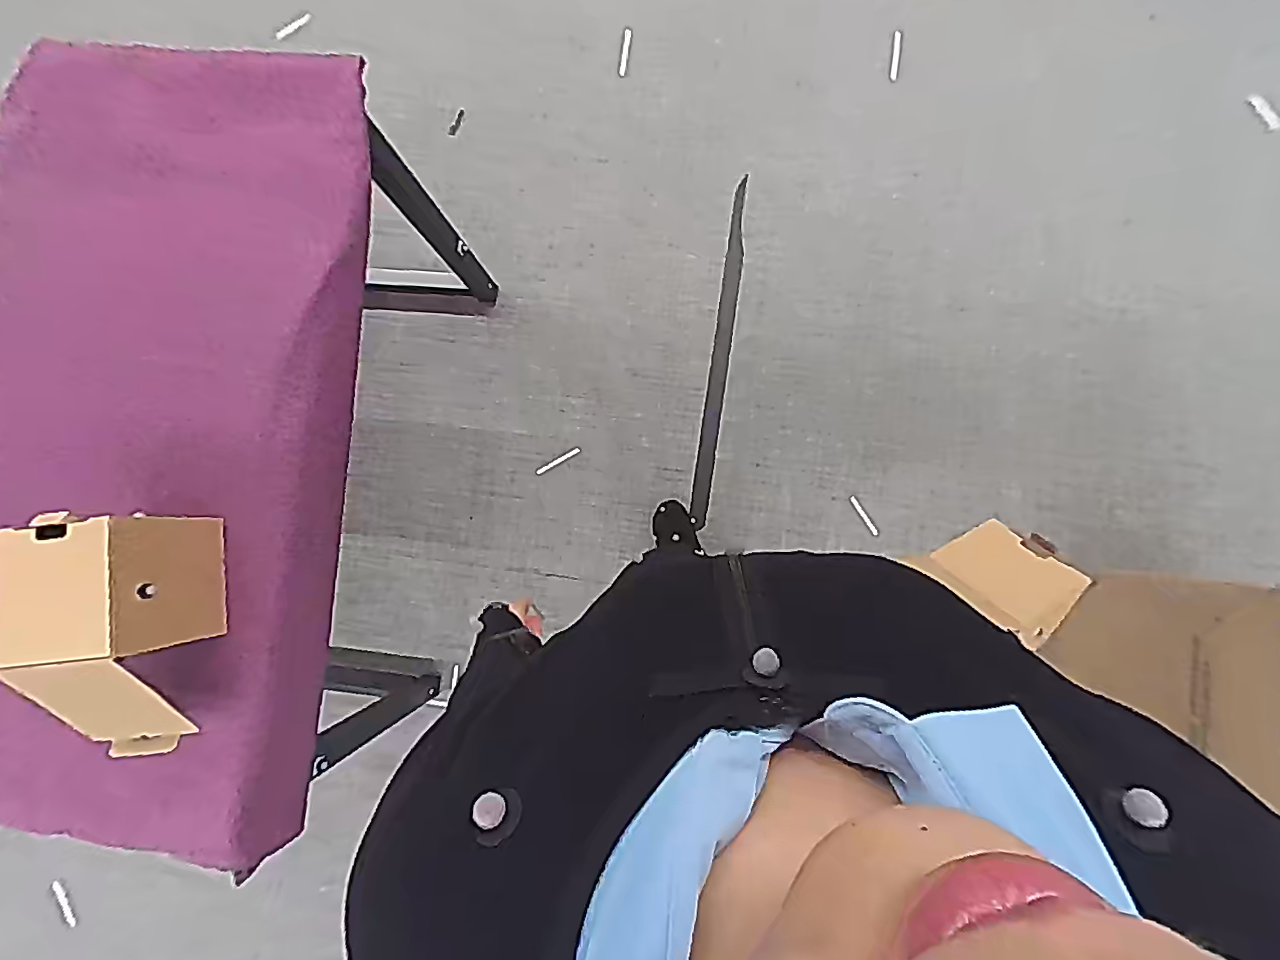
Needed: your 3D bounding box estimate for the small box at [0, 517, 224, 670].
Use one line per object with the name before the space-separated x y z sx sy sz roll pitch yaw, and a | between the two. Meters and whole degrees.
small box | -0.710 0.145 0.738 0.168 0.176 0.179 -7 84 4
